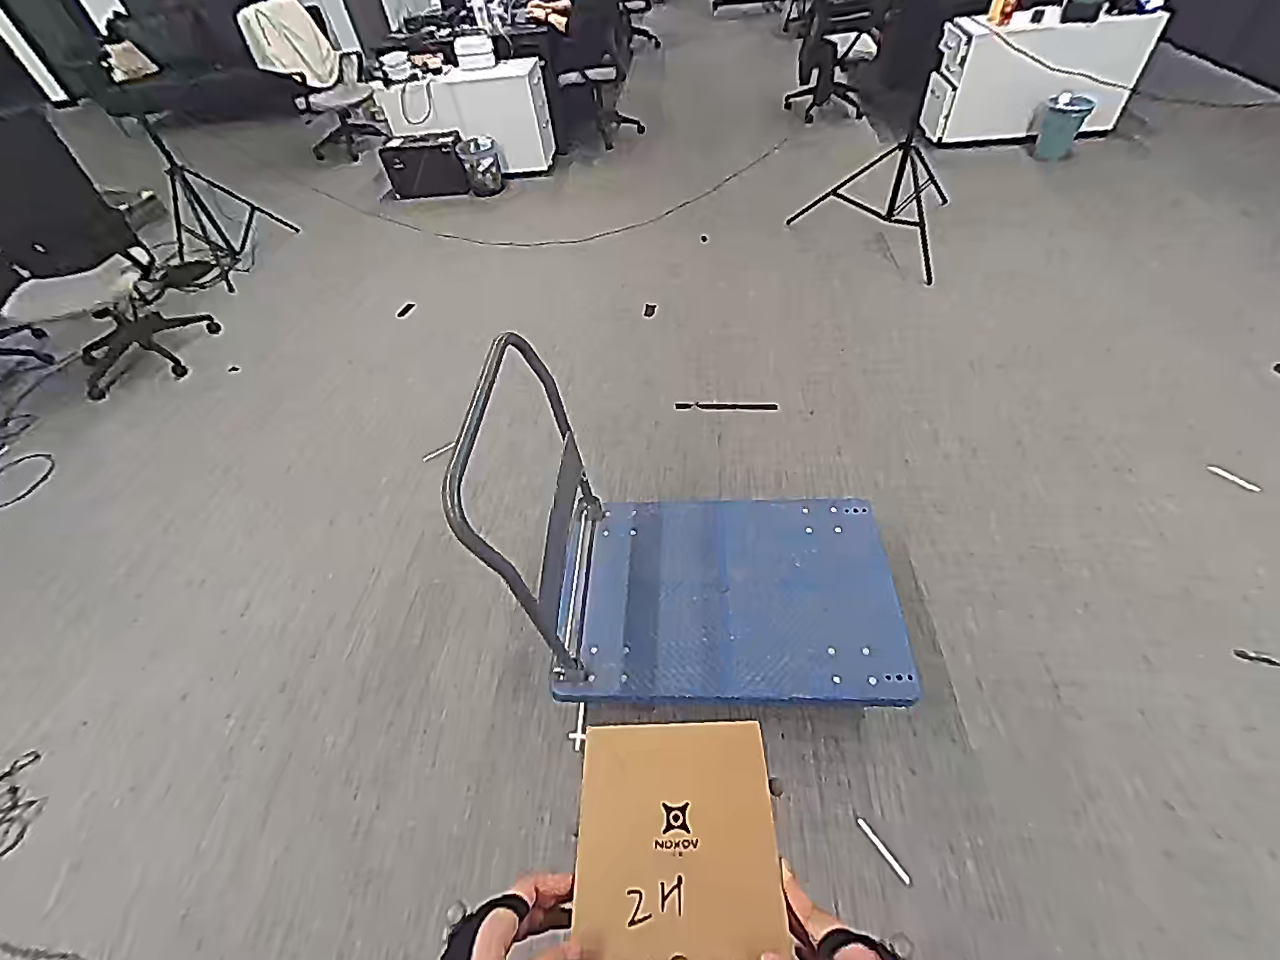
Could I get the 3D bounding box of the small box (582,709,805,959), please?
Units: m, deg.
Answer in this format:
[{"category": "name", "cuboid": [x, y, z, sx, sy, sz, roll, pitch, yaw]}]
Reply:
[{"category": "small box", "cuboid": [0.047, 0.336, 0.507, 0.168, 0.176, 0.179, -4, 45, 5]}]
